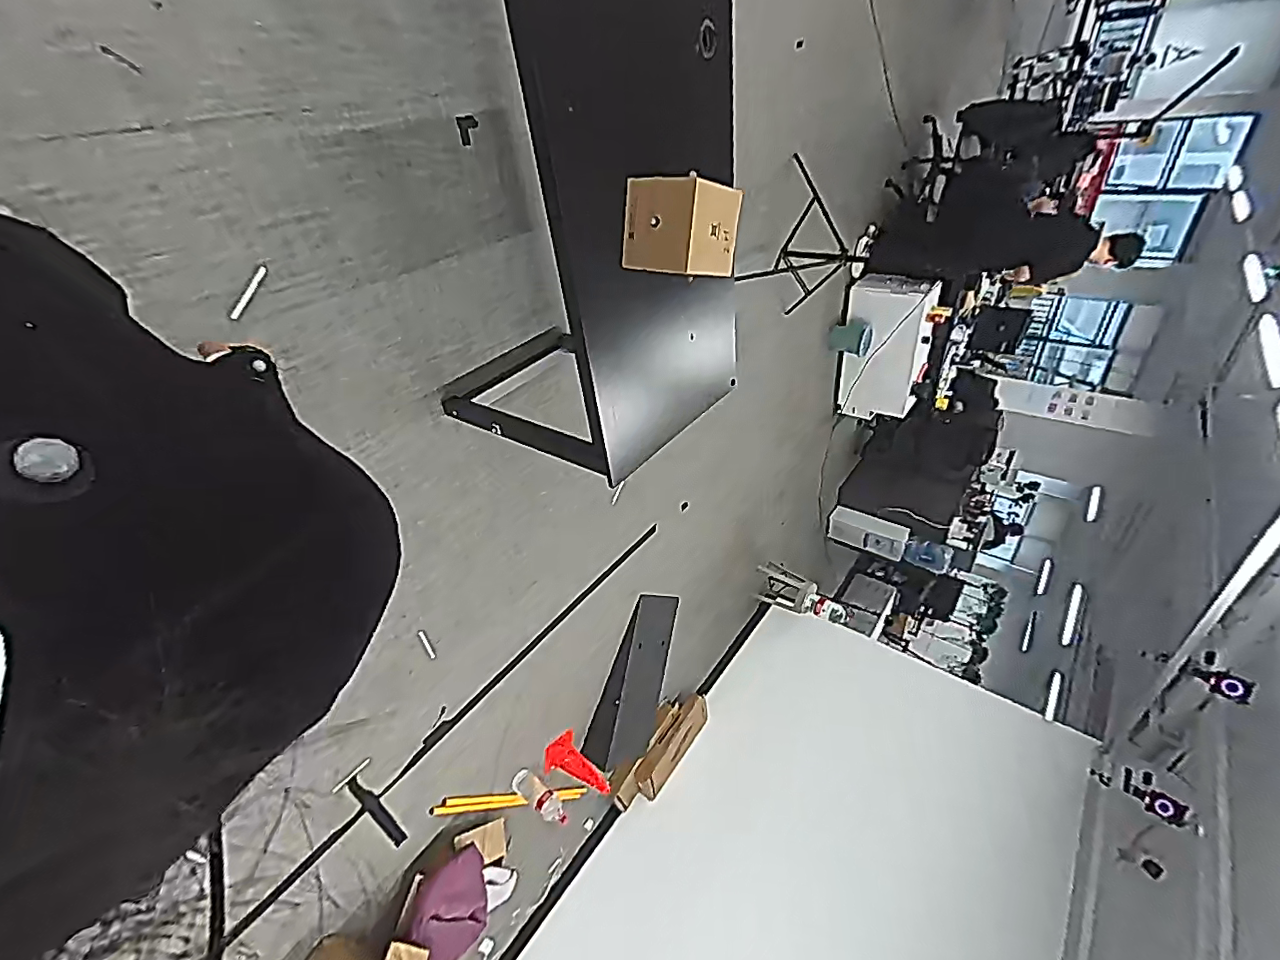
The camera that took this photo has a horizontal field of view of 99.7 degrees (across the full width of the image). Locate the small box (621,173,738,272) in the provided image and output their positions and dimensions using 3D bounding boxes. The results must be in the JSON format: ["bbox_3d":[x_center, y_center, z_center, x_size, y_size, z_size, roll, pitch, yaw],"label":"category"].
[{"bbox_3d":[0.078,-0.528,1.121,0.179,0.176,0.168,-22,125,-49],"label":"small box"}]
